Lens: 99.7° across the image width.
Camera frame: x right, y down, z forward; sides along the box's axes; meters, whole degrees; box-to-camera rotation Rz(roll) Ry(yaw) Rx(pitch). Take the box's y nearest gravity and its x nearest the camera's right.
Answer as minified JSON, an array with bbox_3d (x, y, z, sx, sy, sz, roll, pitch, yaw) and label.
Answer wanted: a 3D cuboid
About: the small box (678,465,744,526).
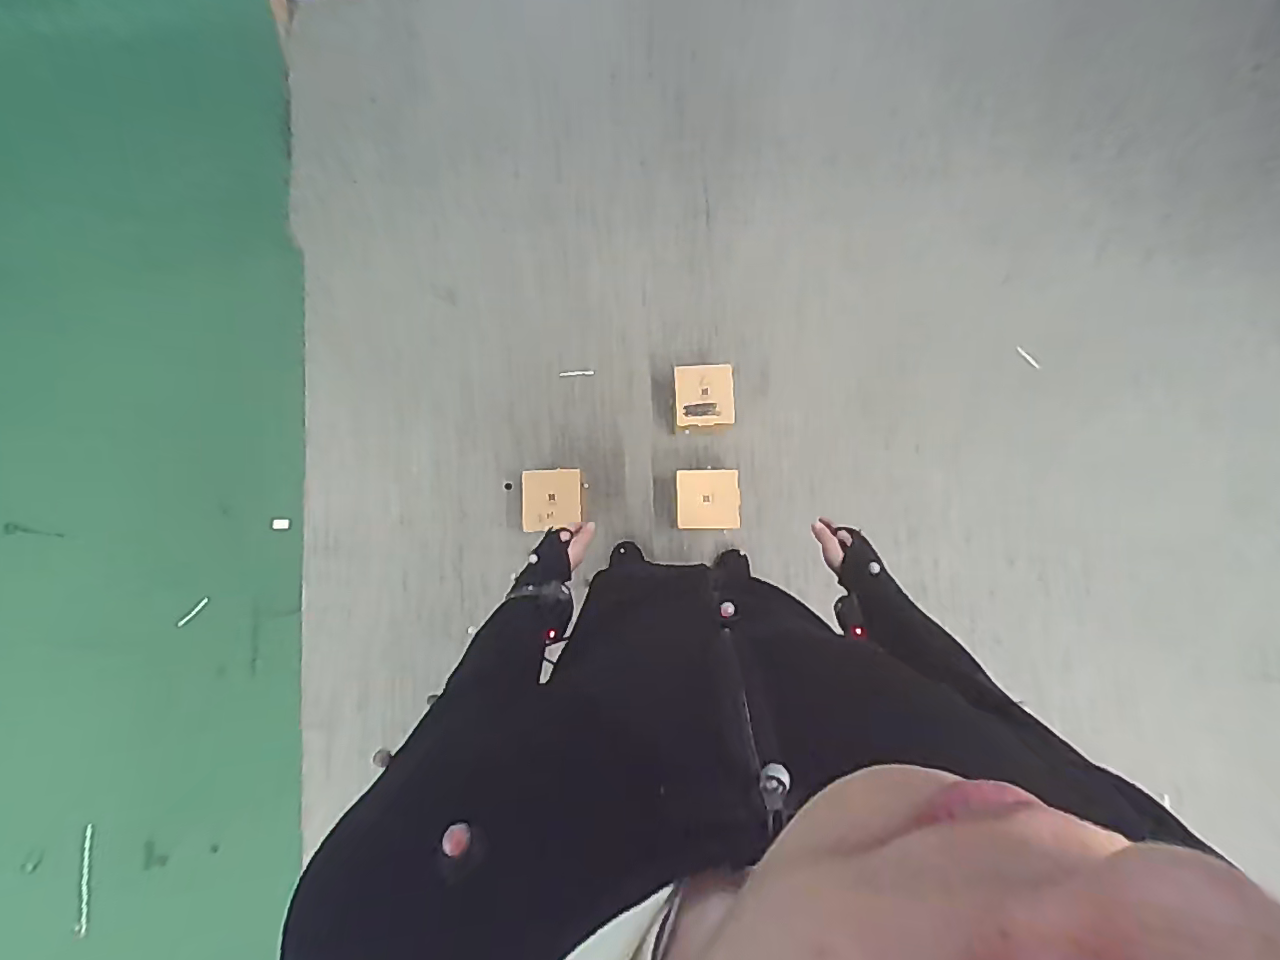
[{"bbox_3d":[0.199,0.049,1.565,0.179,0.176,0.168,-1,85,1],"label":"small box"}]

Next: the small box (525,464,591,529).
[{"bbox_3d":[-0.235,0.051,1.578,0.168,0.176,0.179,-2,84,2],"label":"small box"}]
